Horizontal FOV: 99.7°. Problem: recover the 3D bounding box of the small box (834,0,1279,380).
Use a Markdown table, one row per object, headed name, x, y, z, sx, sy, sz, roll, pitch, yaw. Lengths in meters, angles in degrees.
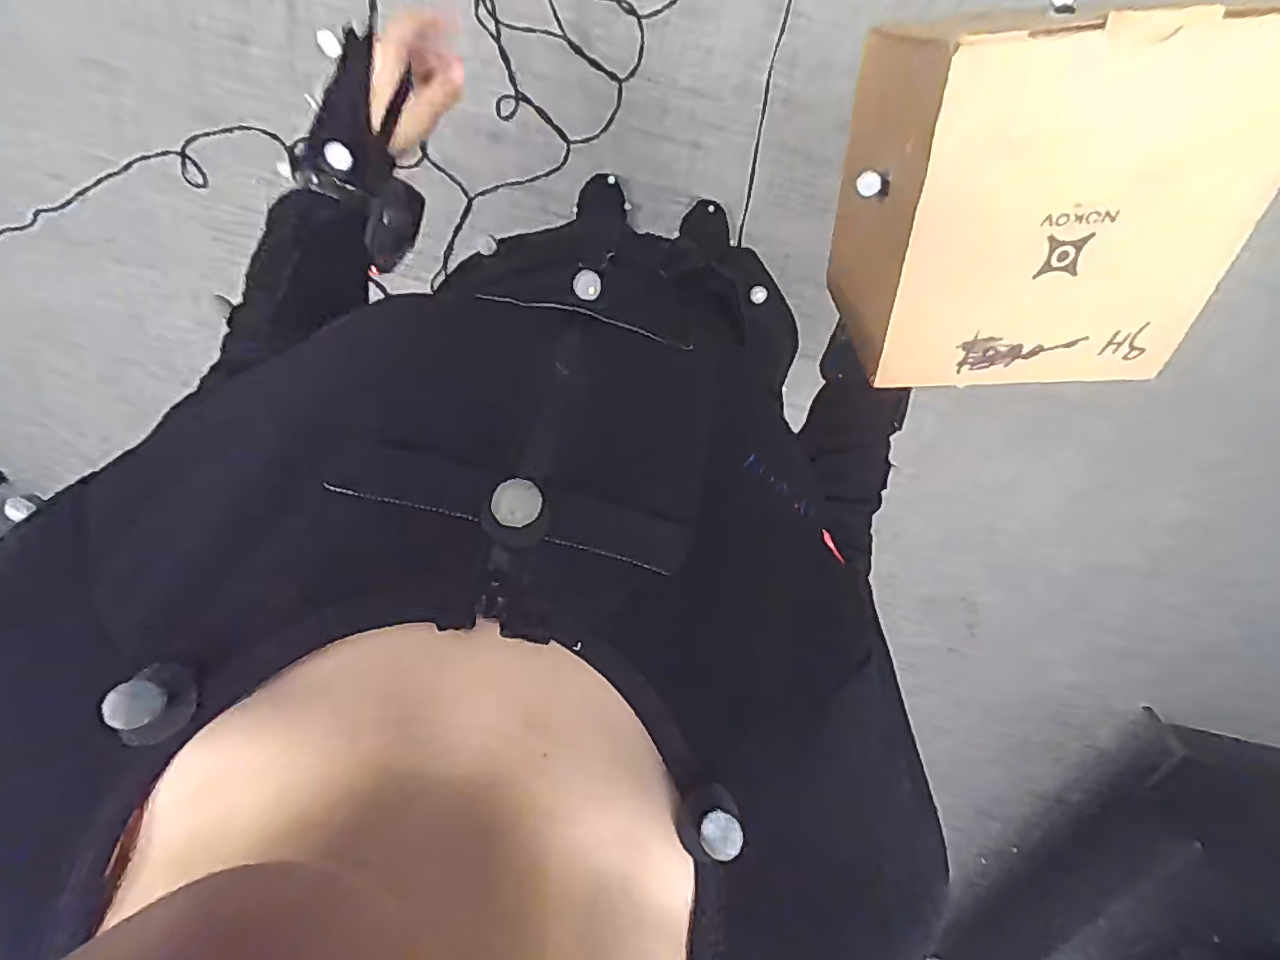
| name | x | y | z | sx | sy | sz | roll | pitch | yaw |
| --- | --- | --- | --- | --- | --- | --- | --- | --- | --- |
| small box | 0.232 | -0.184 | 0.347 | 0.168 | 0.176 | 0.179 | -1 | 131 | 7 |
